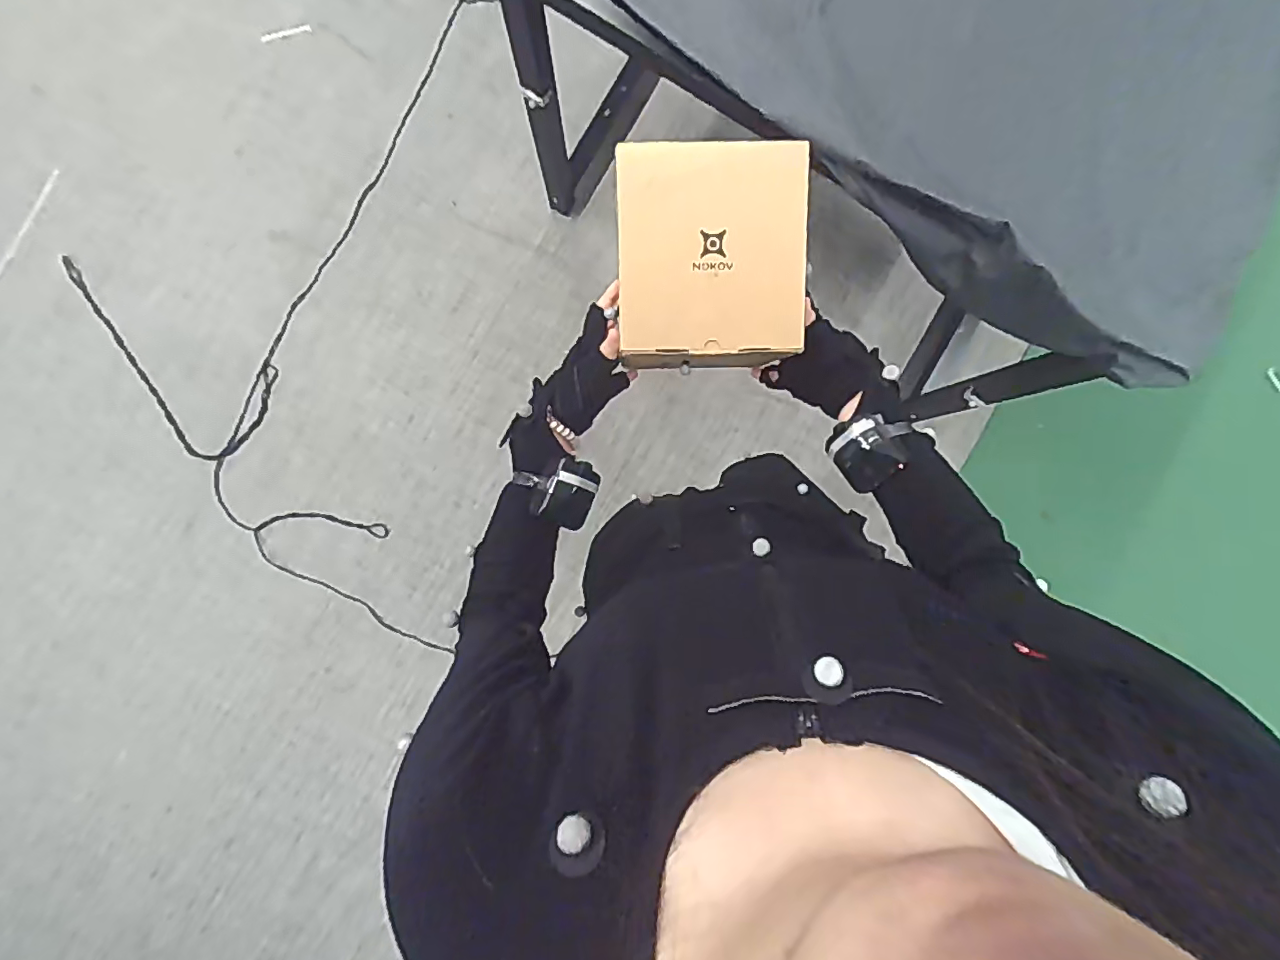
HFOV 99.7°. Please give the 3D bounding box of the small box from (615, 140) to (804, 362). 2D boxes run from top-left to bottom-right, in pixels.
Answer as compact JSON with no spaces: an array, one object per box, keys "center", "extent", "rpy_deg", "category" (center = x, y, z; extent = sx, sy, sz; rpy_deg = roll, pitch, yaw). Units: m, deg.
[{"center":[0.058,-0.217,0.556],"extent":[0.168,0.176,0.179],"rpy_deg":[-1,99,-2],"category":"small box"}]
